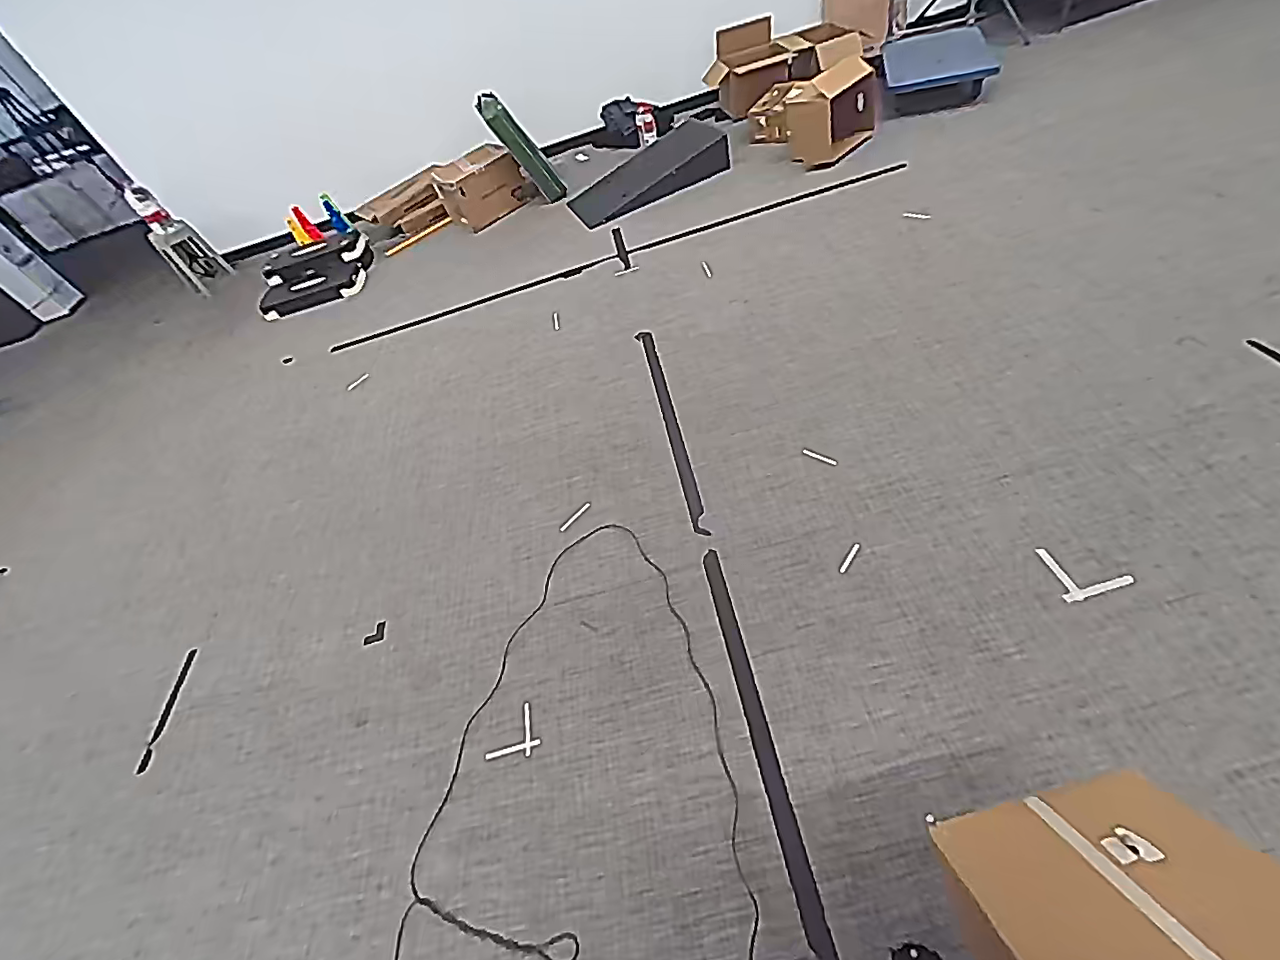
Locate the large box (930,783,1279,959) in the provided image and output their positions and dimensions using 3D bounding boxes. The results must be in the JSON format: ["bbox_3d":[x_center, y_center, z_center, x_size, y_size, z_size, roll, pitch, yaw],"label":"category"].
[{"bbox_3d":[0.618,0.634,0.612,0.320,0.408,0.320,-17,87,4],"label":"large box"}]
